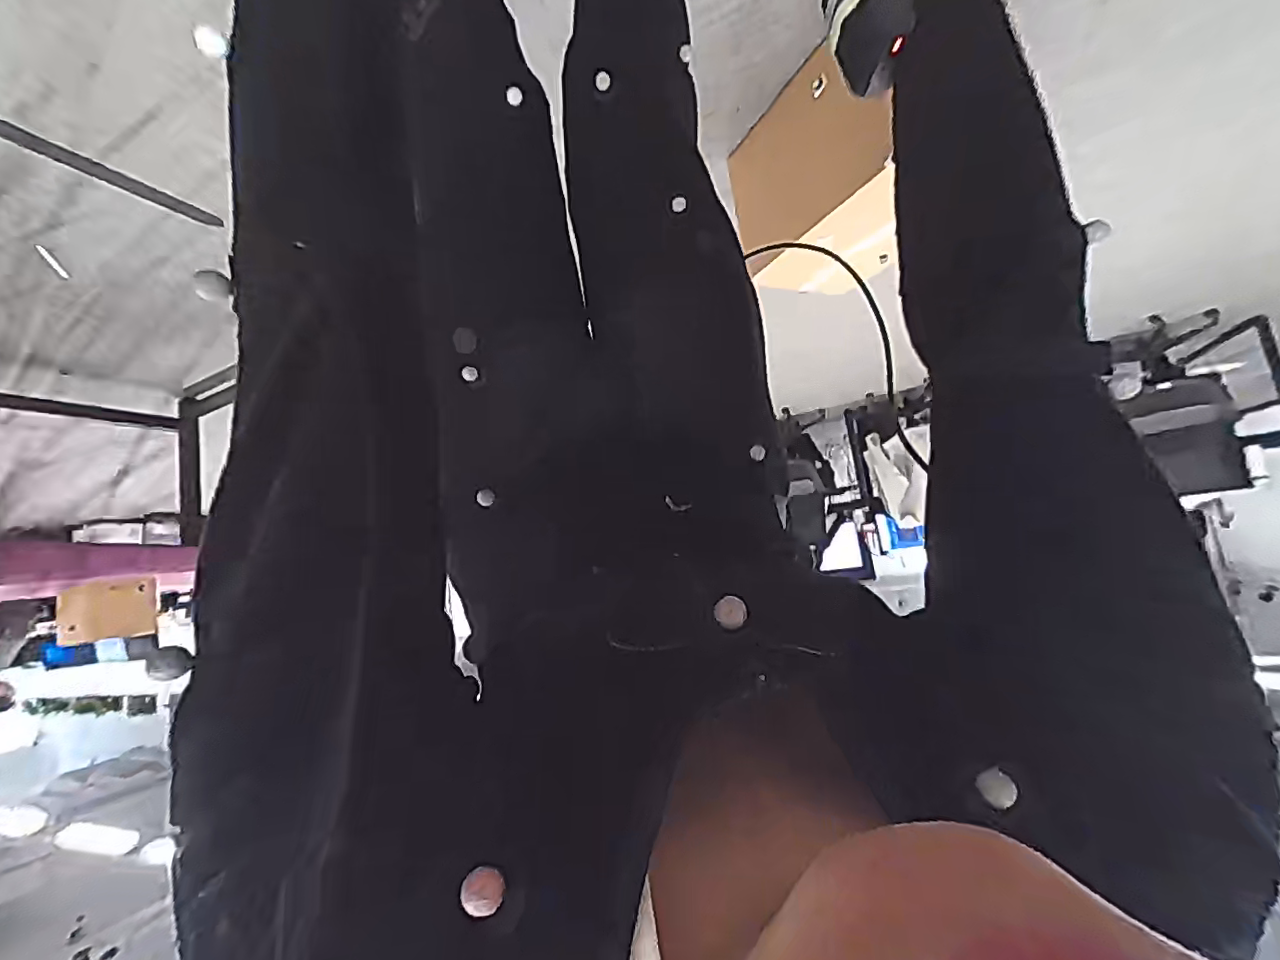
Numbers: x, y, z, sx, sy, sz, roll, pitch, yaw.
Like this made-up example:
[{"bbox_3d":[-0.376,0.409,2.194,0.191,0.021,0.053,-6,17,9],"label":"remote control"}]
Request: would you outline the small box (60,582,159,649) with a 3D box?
[{"bbox_3d":[-1.588,0.399,1.616,0.179,0.176,0.168,-11,171,24],"label":"small box"}]
